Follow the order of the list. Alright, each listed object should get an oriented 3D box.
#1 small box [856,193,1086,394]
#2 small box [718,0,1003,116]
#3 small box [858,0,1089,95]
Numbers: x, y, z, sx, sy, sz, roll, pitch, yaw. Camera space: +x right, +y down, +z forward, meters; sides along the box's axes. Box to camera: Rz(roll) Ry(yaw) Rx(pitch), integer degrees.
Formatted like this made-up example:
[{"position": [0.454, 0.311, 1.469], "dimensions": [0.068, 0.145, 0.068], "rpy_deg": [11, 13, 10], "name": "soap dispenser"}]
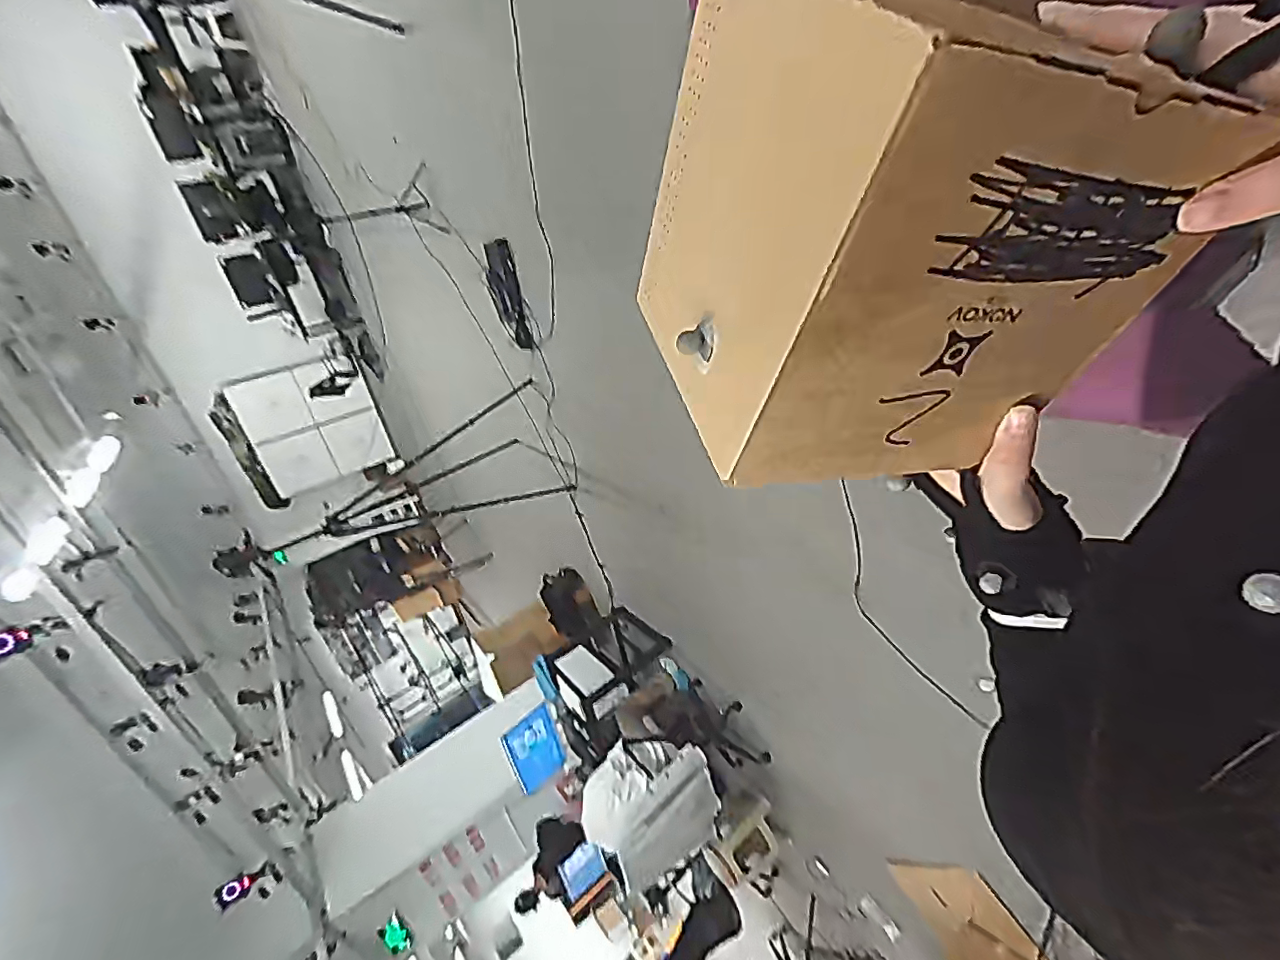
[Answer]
[{"position": [0.380, -0.224, 0.634], "dimensions": [0.168, 0.176, 0.179], "rpy_deg": [27, 135, 46], "name": "small box"}, {"position": [0.179, -0.429, 0.443], "dimensions": [0.168, 0.176, 0.179], "rpy_deg": [20, 129, 51], "name": "small box"}, {"position": [0.312, -0.493, 0.517], "dimensions": [0.168, 0.176, 0.179], "rpy_deg": [24, 133, 50], "name": "small box"}]
